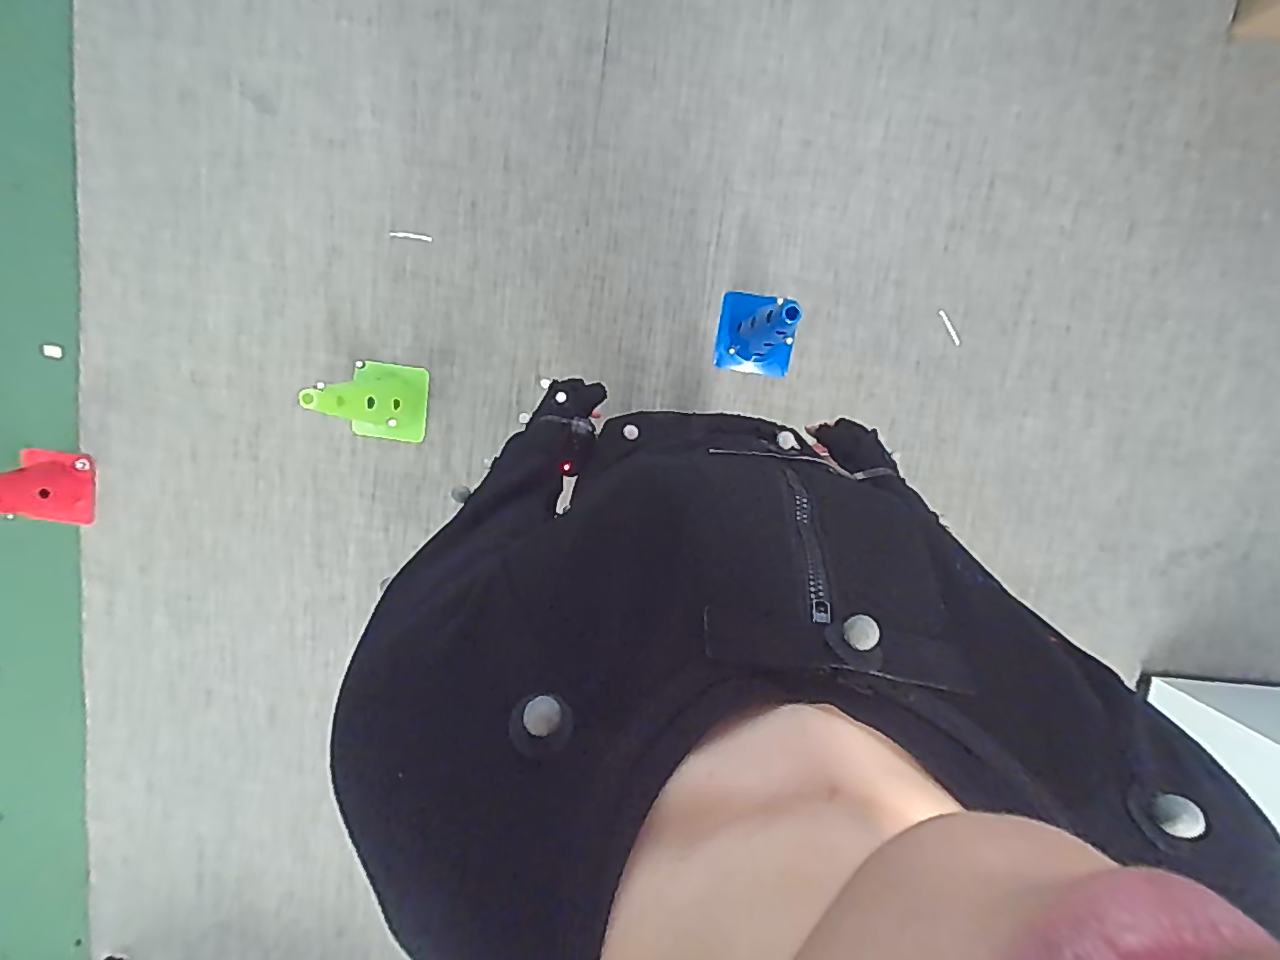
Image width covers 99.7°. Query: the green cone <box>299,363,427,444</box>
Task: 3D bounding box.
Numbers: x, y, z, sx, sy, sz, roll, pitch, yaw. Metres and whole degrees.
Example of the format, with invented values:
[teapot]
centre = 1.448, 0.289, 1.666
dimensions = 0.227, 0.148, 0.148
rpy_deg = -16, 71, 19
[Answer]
[green cone]
centre = -0.675, -0.180, 1.273
dimensions = 0.202, 0.368, 0.200
rpy_deg = 7, 98, 0
